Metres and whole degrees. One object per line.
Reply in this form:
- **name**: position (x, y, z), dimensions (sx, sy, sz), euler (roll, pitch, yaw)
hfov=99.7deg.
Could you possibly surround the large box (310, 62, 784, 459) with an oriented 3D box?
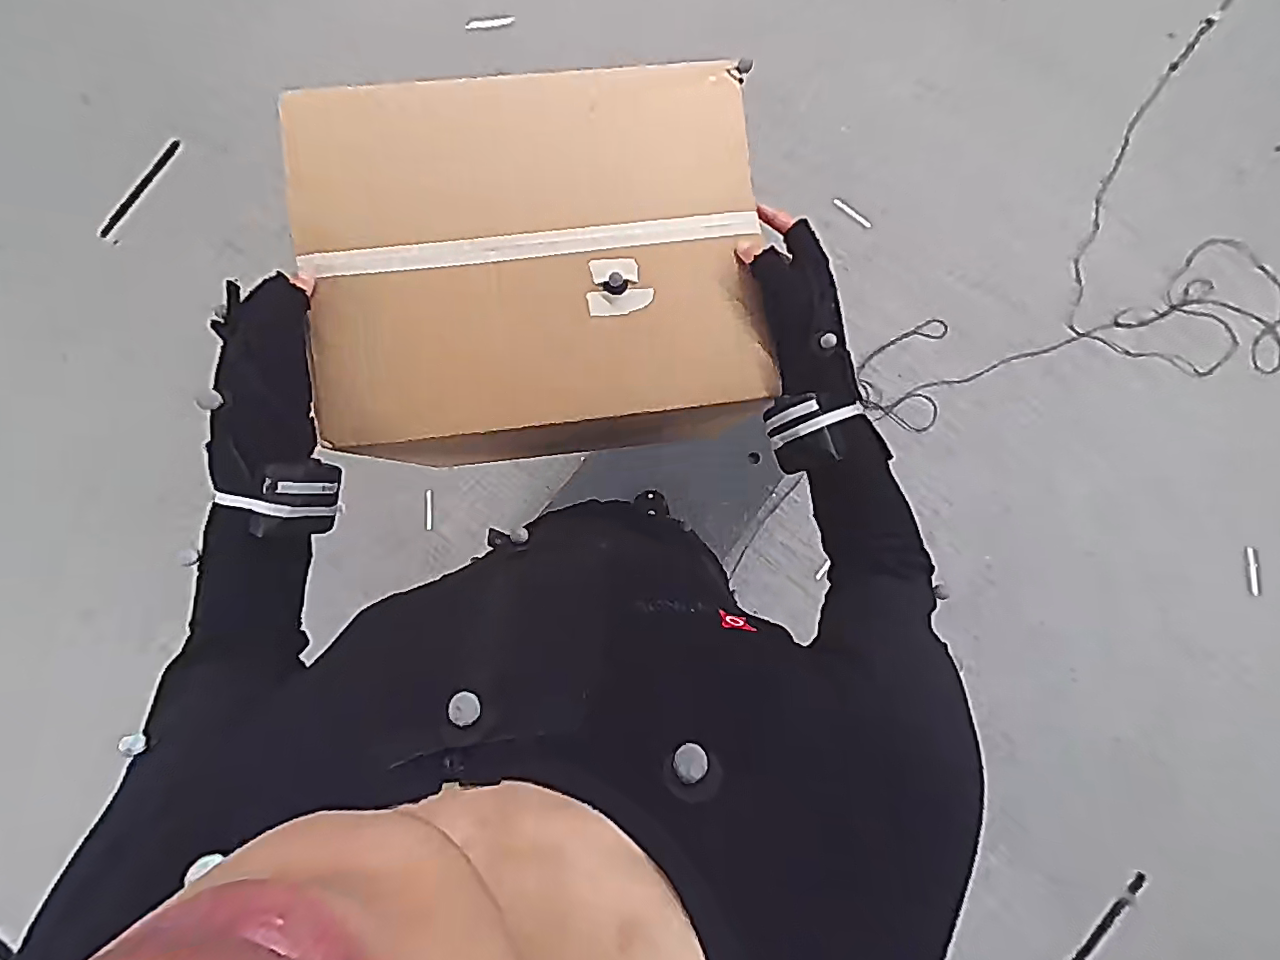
- **large box**: position (-0.092, -0.212, 0.639), dimensions (0.408, 0.320, 0.320), euler (-7, 89, -4)
